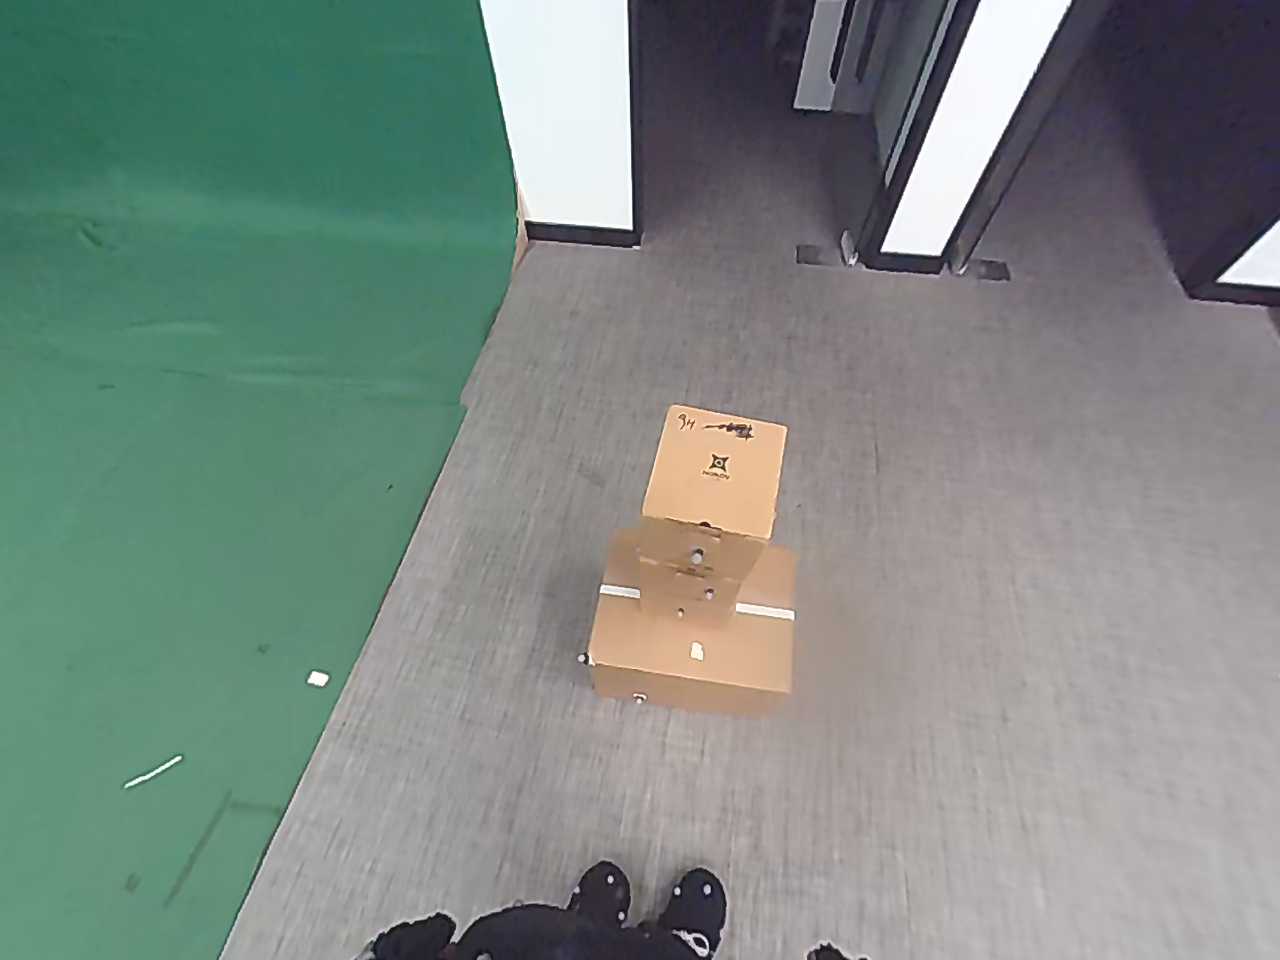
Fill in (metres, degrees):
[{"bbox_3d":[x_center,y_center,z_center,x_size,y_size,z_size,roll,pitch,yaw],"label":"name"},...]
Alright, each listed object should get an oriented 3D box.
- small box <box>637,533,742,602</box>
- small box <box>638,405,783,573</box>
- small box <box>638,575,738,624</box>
[{"bbox_3d":[0.094,0.098,0.934,0.168,0.176,0.179,10,63,6],"label":"small box"},{"bbox_3d":[0.100,0.020,0.790,0.168,0.176,0.179,12,65,7],"label":"small box"},{"bbox_3d":[0.102,0.174,1.074,0.179,0.176,0.168,13,63,9],"label":"small box"}]
